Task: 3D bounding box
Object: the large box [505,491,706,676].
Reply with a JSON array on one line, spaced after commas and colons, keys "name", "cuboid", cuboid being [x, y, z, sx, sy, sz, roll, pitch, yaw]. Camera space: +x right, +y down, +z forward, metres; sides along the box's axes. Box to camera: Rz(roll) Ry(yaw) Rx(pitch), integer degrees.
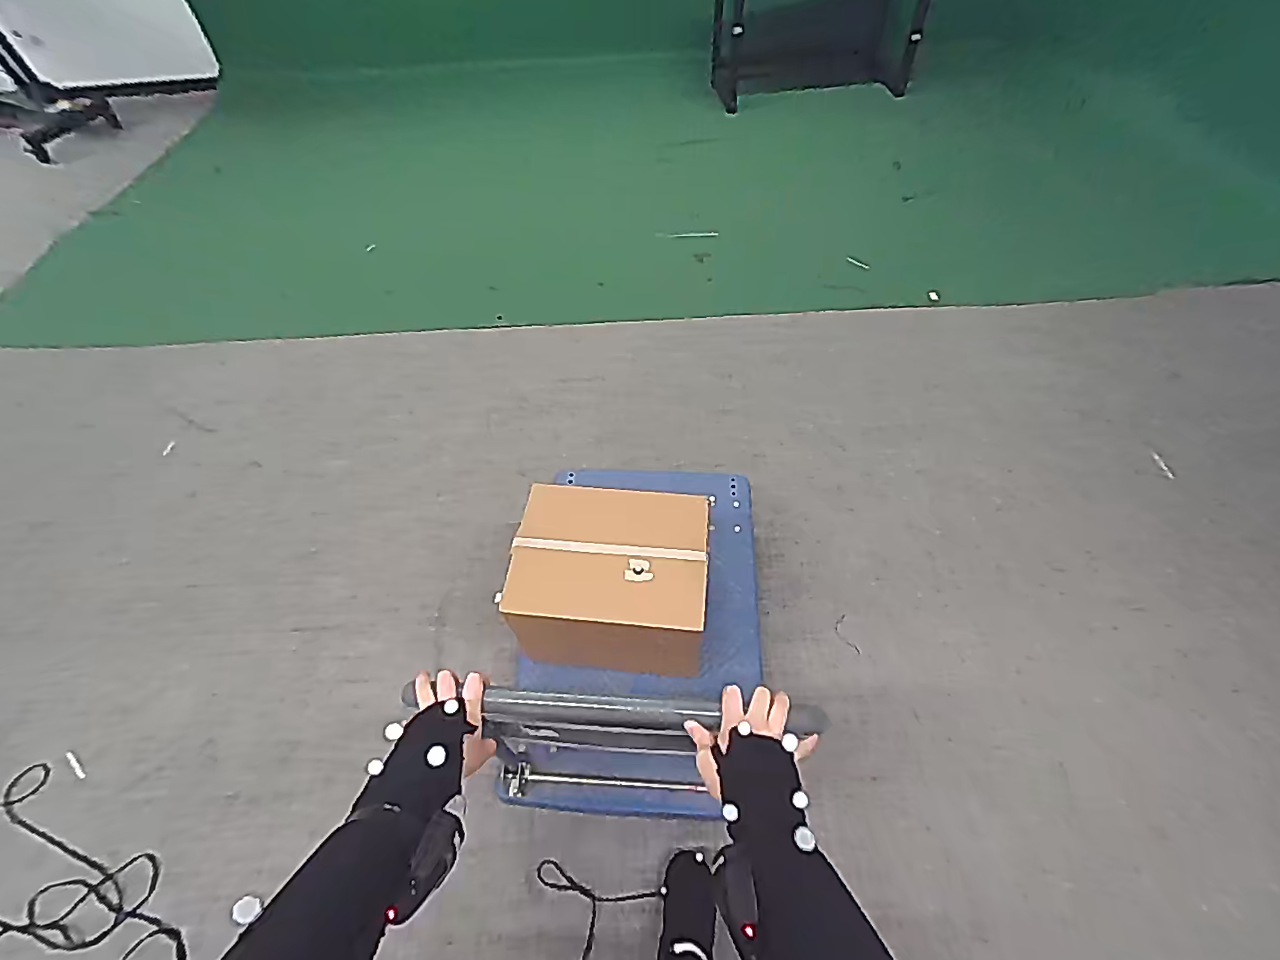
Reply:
[{"name": "large box", "cuboid": [-0.060, 0.248, 1.272, 0.408, 0.320, 0.320, 4, 54, 4]}]
